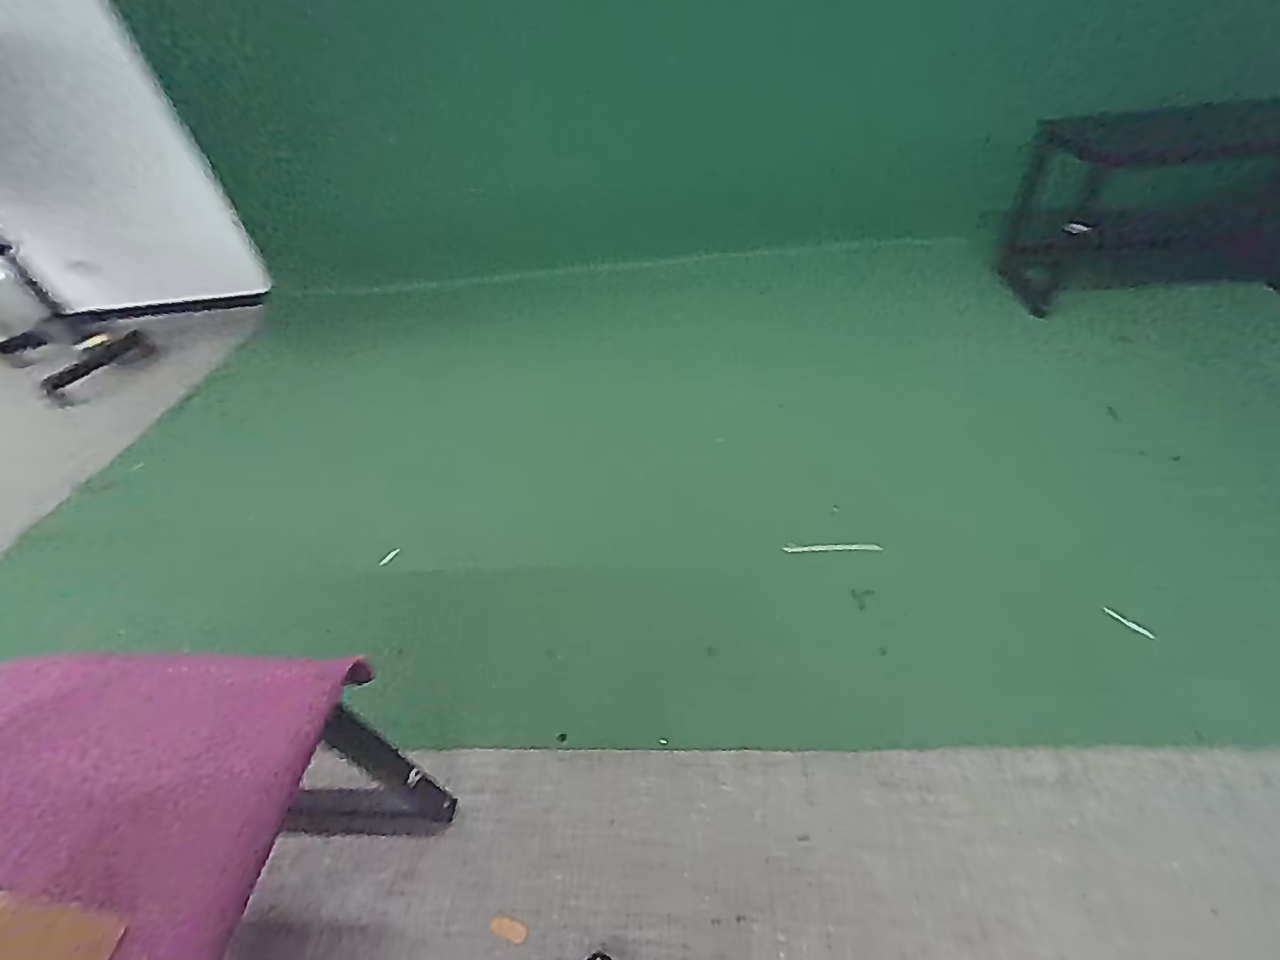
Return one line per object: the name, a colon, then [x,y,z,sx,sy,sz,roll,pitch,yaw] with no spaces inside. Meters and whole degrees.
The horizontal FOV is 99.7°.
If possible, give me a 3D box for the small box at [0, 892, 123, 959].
small box: [-0.738,0.550,0.575,0.179,0.176,0.168,-2,45,8]
